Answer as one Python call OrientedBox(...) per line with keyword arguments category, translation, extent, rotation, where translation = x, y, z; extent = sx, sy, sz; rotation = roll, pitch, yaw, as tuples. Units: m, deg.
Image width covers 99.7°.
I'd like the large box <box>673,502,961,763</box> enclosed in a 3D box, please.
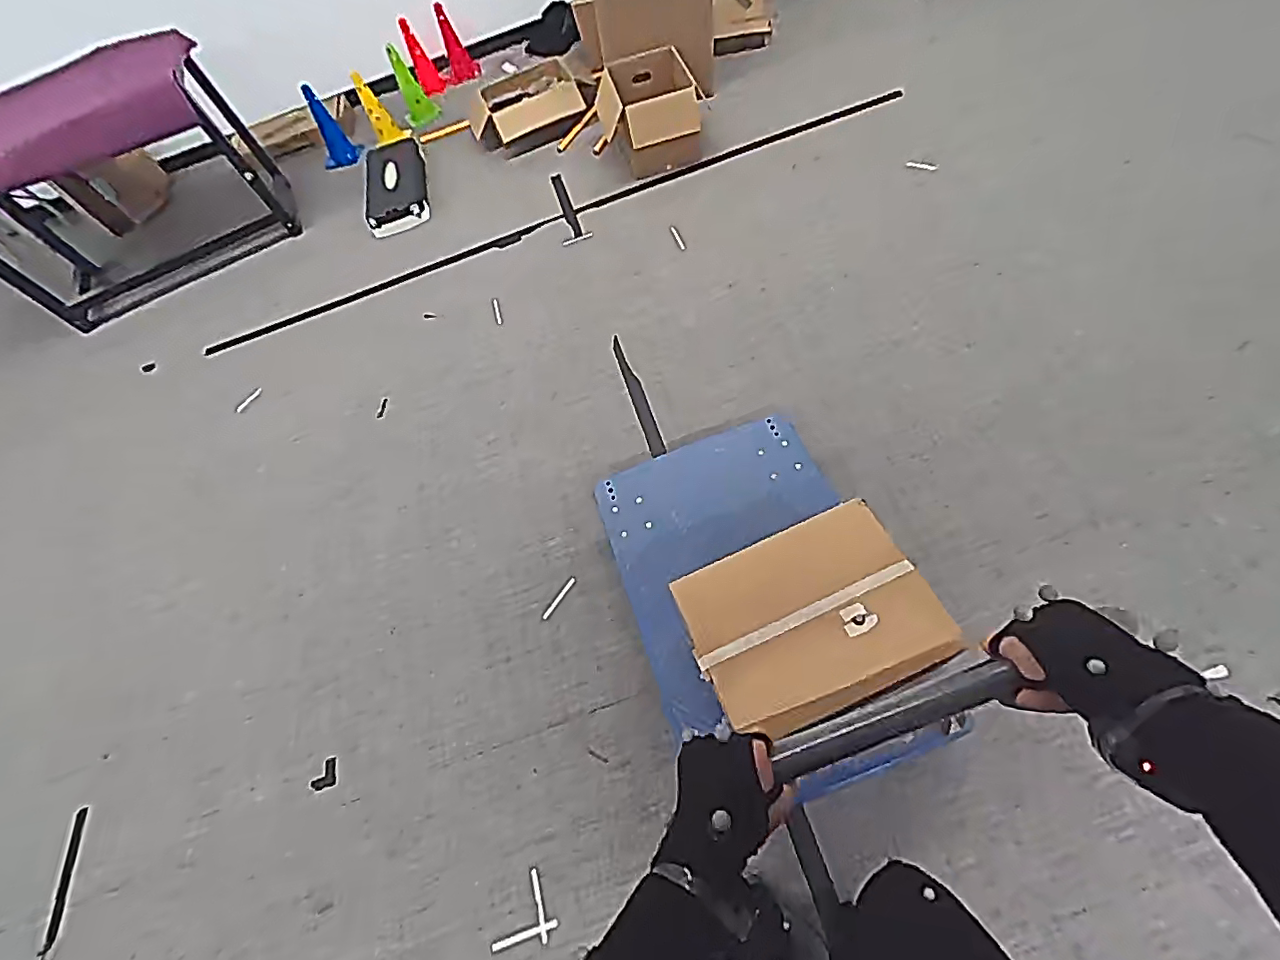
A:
OrientedBox(category="large box", translation=(0.321, 0.315, 1.081), extent=(0.408, 0.320, 0.320), rotation=(-24, 59, -4))
